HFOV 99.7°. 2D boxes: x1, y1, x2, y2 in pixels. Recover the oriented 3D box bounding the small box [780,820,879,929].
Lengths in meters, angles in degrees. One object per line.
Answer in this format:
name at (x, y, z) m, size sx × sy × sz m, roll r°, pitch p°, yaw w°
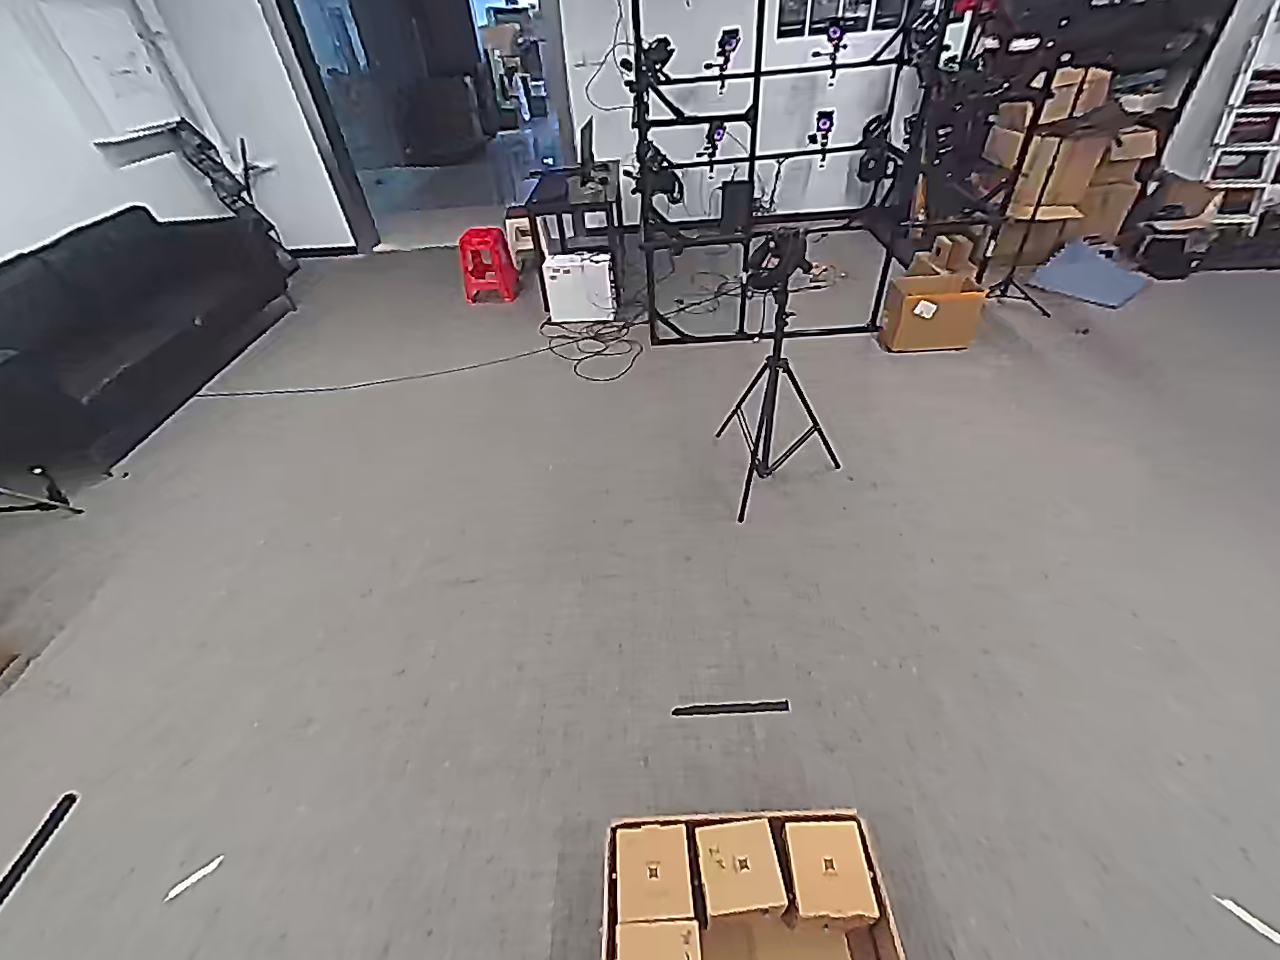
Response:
small box at (0.425, 0.908, 1.244) m, size 0.168 × 0.176 × 0.179 m, roll -4°, pitch 44°, yaw 4°
